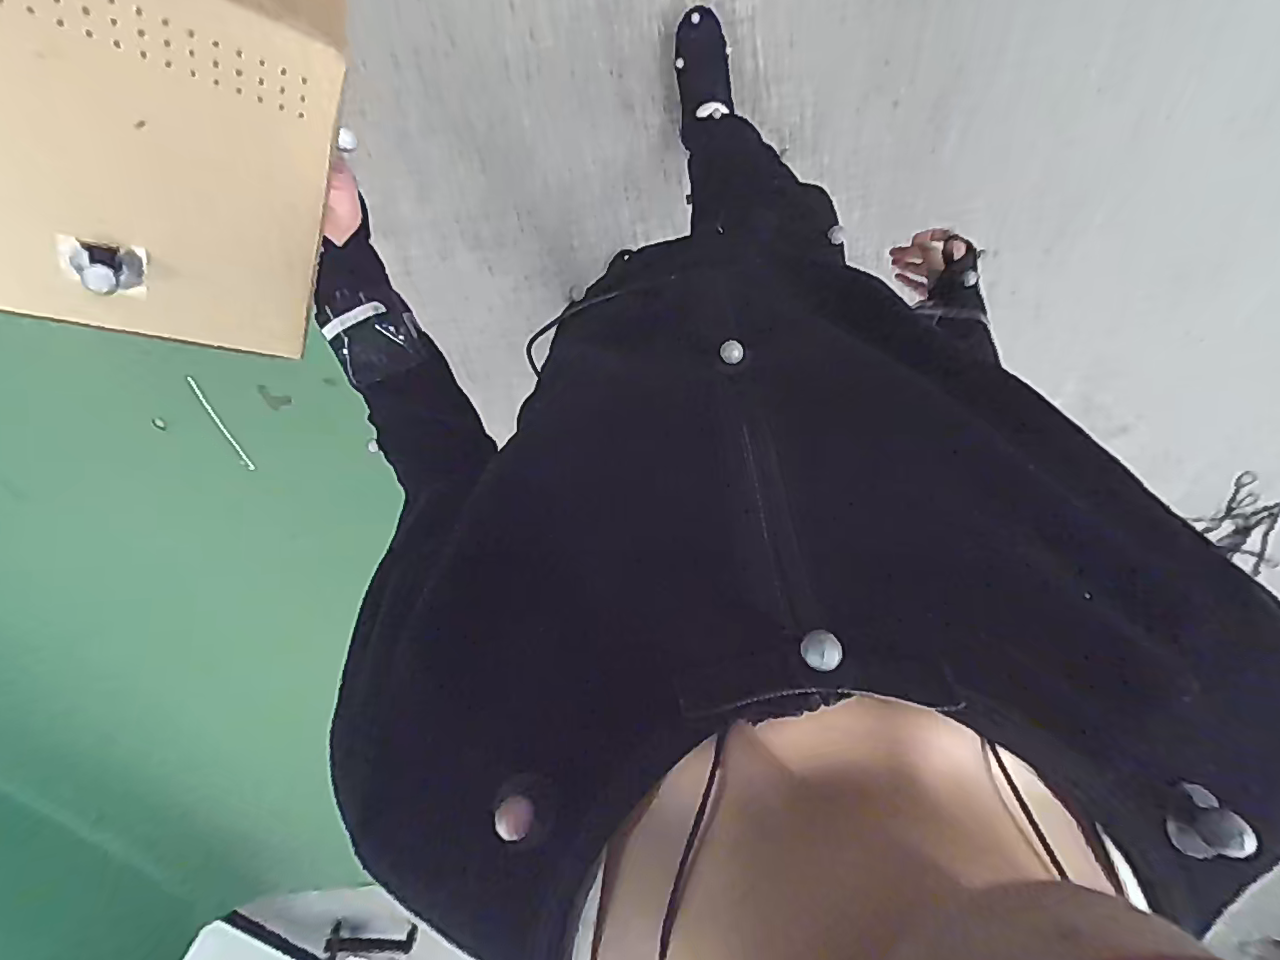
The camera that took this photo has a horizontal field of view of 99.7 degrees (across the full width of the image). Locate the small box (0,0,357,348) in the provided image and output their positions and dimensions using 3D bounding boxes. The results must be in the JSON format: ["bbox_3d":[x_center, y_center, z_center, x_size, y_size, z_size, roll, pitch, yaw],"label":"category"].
[{"bbox_3d":[-0.229,-0.187,0.229,0.179,0.168,0.176,4,145,-36],"label":"small box"}]

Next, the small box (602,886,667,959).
[{"bbox_3d":[-0.013,1.390,1.670,0.168,0.176,0.179,-13,122,7],"label":"small box"}]
